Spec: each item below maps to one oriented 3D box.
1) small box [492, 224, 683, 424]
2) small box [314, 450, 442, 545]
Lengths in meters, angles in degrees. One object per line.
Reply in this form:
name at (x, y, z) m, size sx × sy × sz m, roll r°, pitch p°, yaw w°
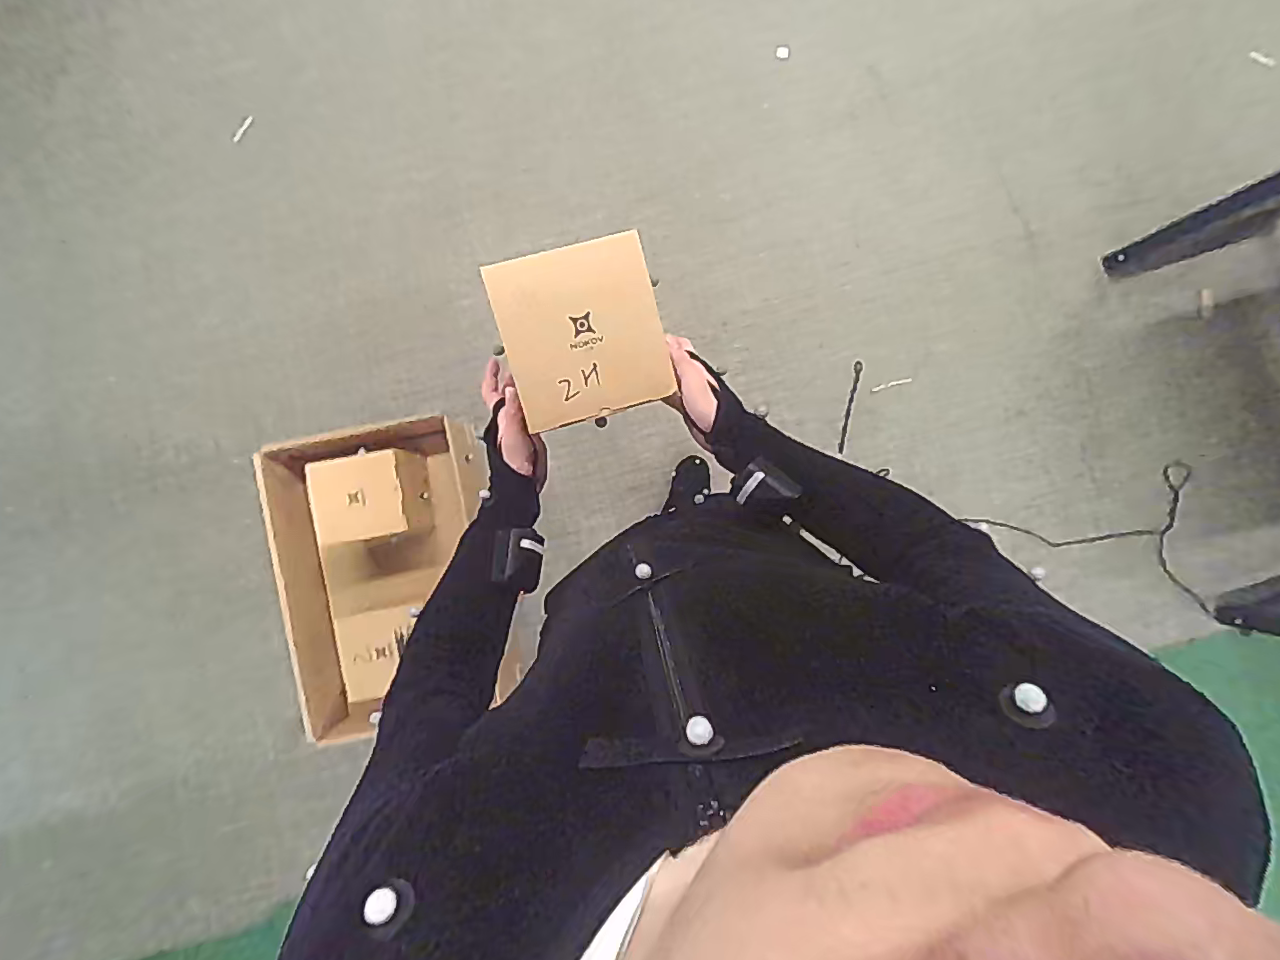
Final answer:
small box at (-0.061, -0.169, 0.633) m, size 0.168 × 0.176 × 0.179 m, roll -15°, pitch 99°, yaw -4°
small box at (-0.545, 0.039, 1.145) m, size 0.179 × 0.176 × 0.168 m, roll -11°, pitch 88°, yaw -1°
